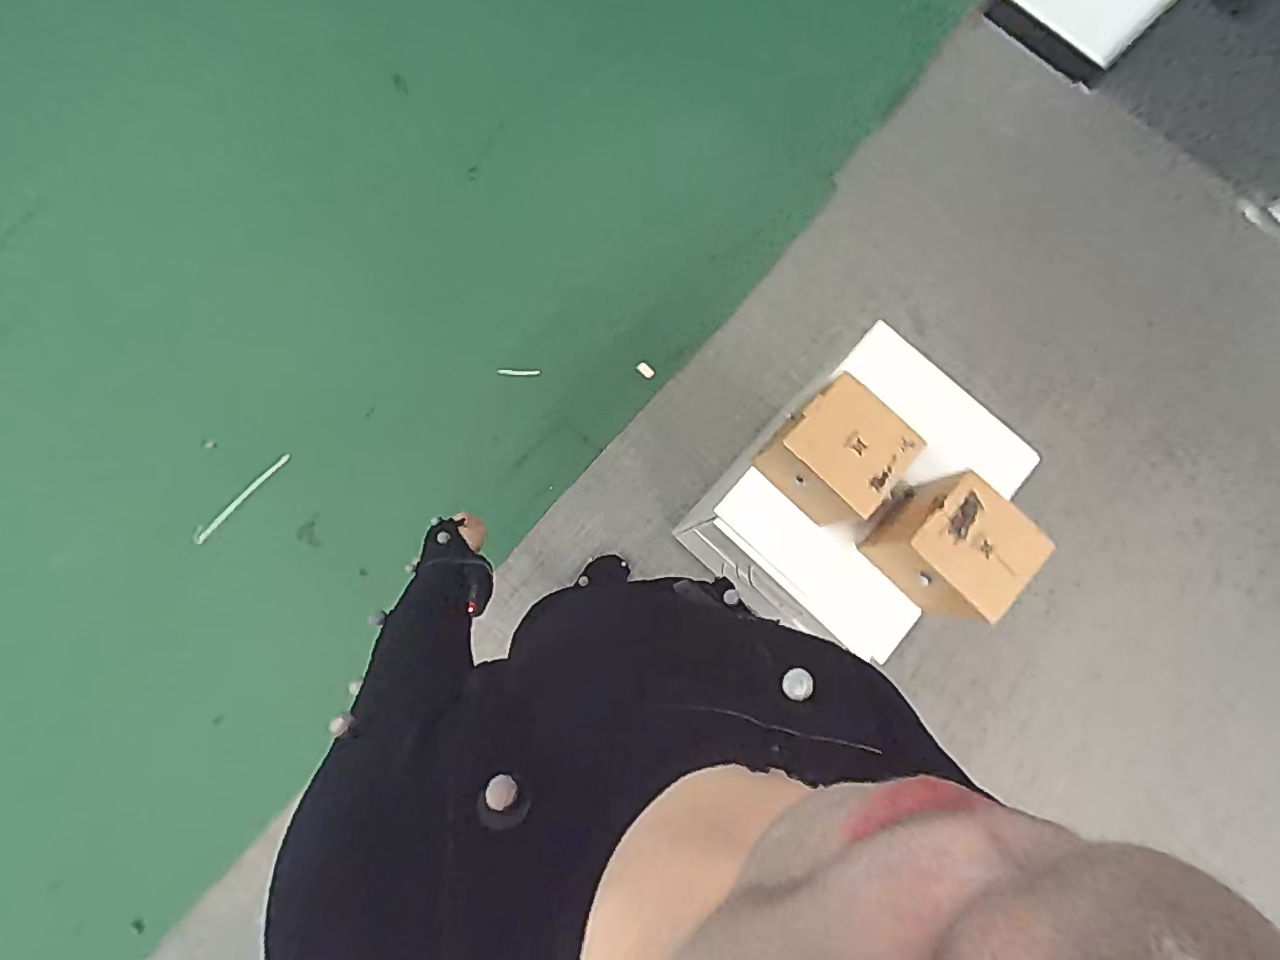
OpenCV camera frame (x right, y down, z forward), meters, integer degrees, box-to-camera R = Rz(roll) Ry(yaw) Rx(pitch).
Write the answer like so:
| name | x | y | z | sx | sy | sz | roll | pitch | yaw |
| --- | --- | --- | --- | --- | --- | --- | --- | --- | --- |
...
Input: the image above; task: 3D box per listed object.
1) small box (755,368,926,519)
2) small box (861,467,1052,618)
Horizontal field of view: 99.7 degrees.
| name | x | y | z | sx | sy | sz | roll | pitch | yaw |
| --- | --- | --- | --- | --- | --- | --- | --- | --- | --- |
| small box | 0.322 | -0.049 | 0.909 | 0.179 | 0.176 | 0.168 | 43 | 80 | 2 |
| small box | 0.509 | 0.107 | 0.898 | 0.168 | 0.176 | 0.179 | -44 | 86 | -10 |
